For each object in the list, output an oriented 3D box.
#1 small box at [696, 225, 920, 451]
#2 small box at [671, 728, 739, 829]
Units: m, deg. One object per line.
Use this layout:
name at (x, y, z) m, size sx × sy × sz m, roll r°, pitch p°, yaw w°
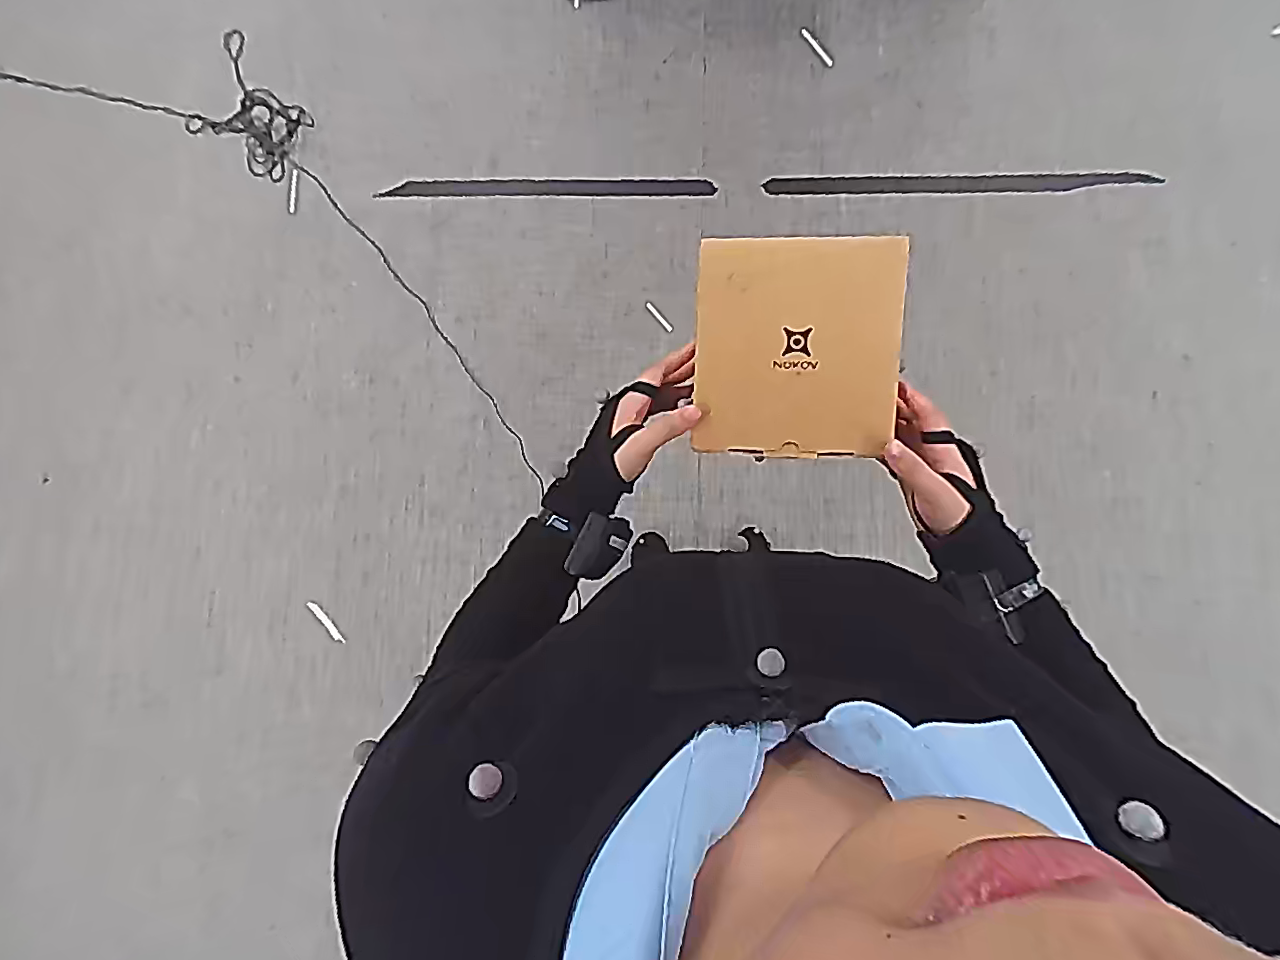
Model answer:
small box at (0.141, -0.121, 0.512) m, size 0.168 × 0.176 × 0.179 m, roll 3°, pitch 96°, yaw 6°
small box at (0.161, 0.749, 1.374) m, size 0.168 × 0.176 × 0.179 m, roll -1°, pitch 86°, yaw 5°
